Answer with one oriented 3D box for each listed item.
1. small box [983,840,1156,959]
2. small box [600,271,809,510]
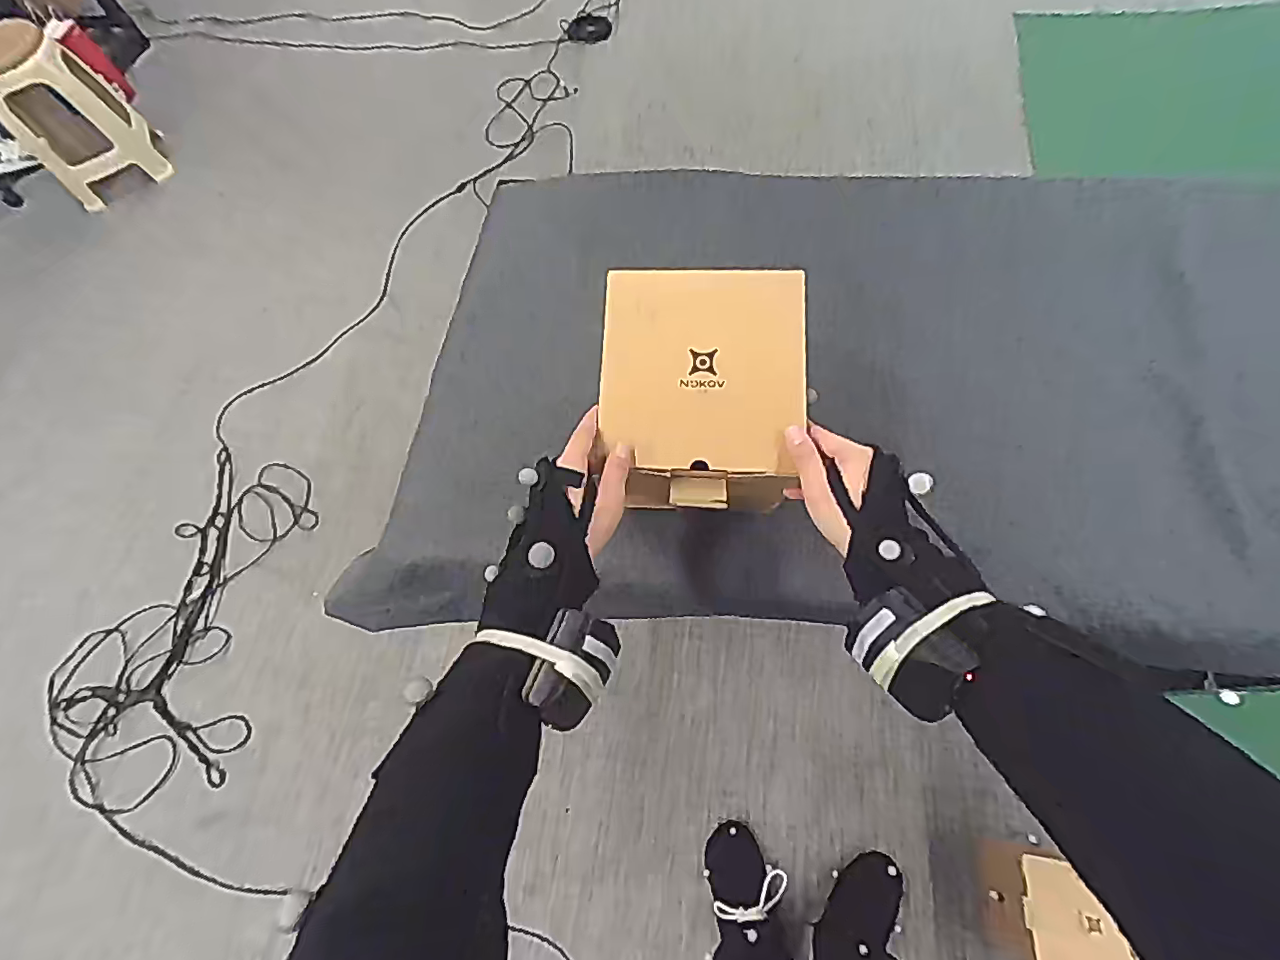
[{"bbox_3d":[0.714,0.732,0.921,0.179,0.176,0.168,4,65,9],"label":"small box"},{"bbox_3d":[0.058,-0.074,0.516,0.168,0.176,0.179,2,78,4],"label":"small box"}]
